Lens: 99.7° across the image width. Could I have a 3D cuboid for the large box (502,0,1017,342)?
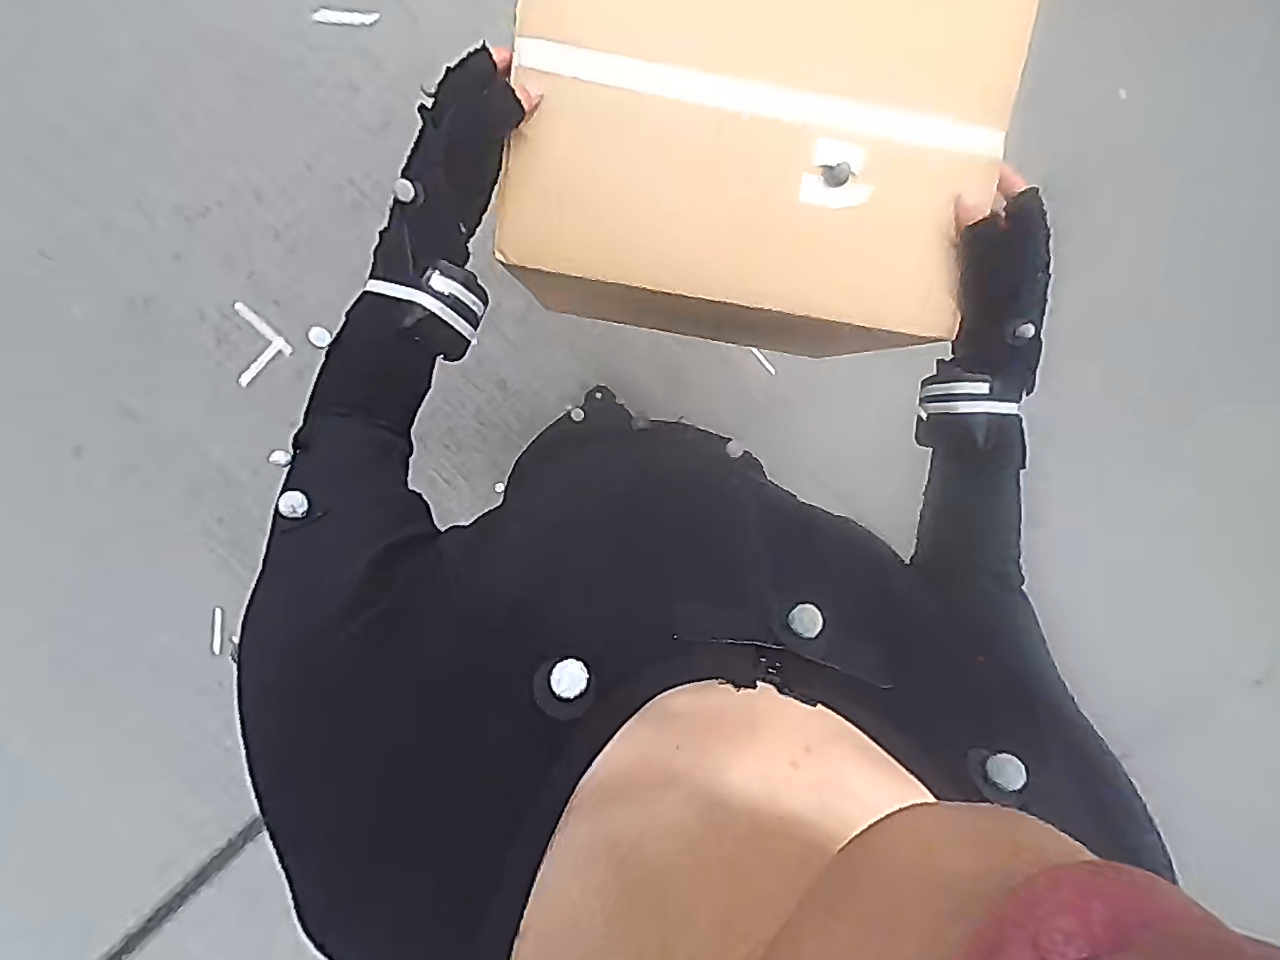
[{"bbox_3d":[0.087,-0.341,0.586,0.408,0.320,0.320,7,100,-5],"label":"large box"}]
